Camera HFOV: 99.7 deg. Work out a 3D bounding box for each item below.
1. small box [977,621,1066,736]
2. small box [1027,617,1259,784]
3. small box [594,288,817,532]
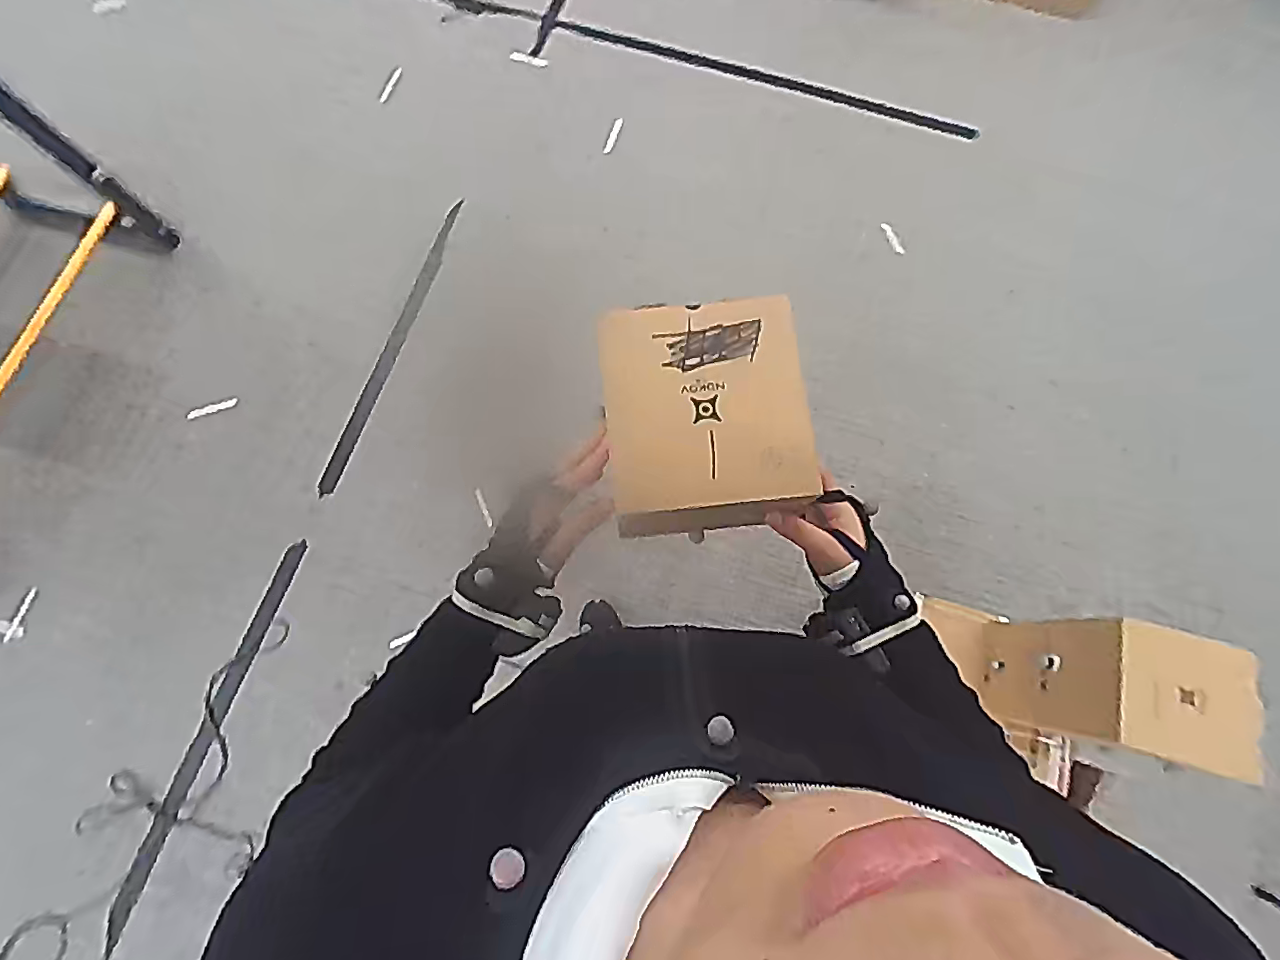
[{"bbox_3d":[0.722,0.346,0.927,0.179,0.176,0.168,16,74,5],"label":"small box"},{"bbox_3d":[0.701,0.301,0.770,0.179,0.176,0.168,15,74,5],"label":"small box"},{"bbox_3d":[0.047,-0.054,0.513,0.168,0.176,0.179,-6,78,-2],"label":"small box"}]
